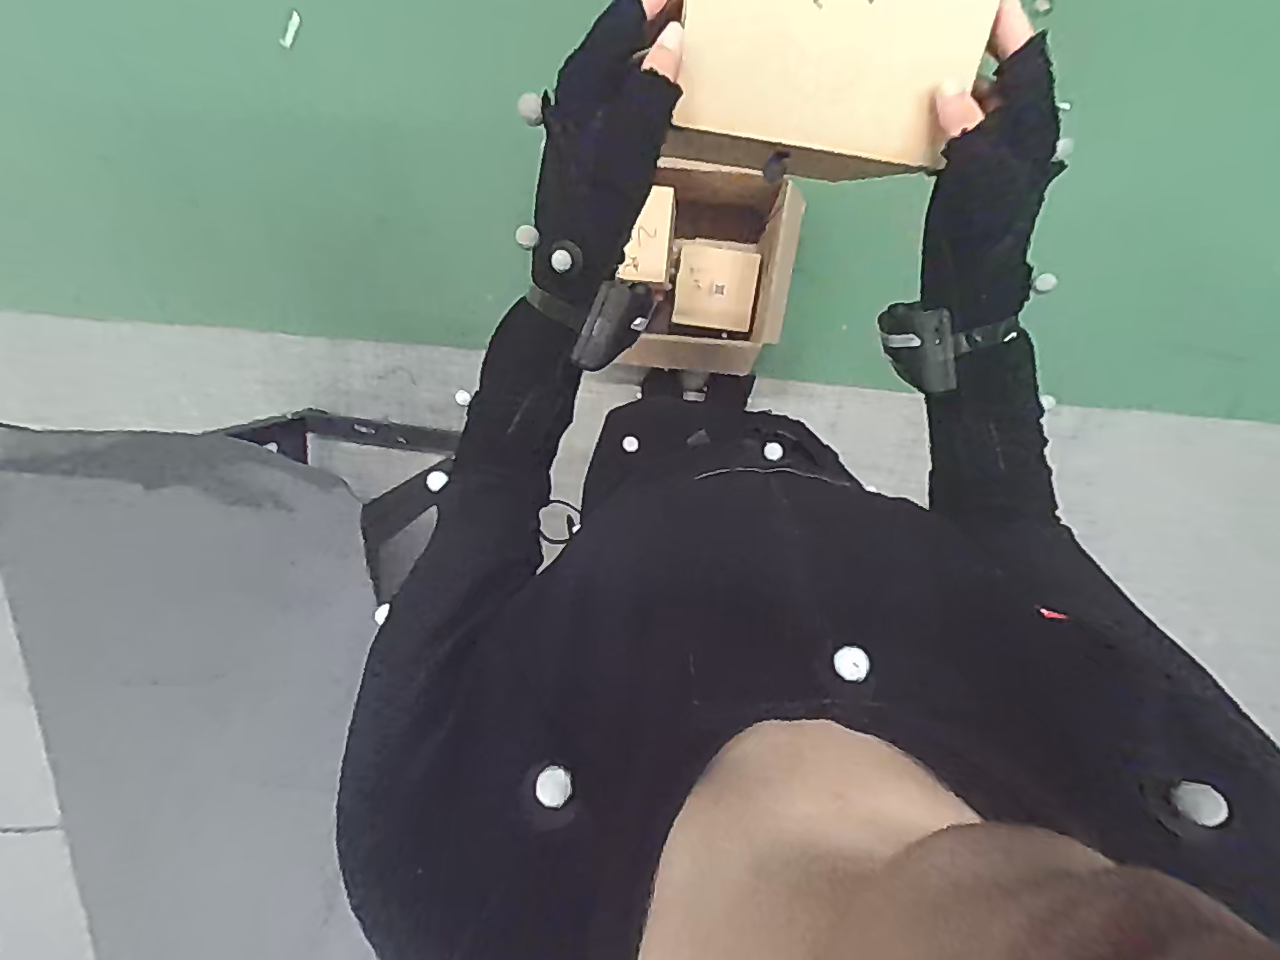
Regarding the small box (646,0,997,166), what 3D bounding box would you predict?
[{"bbox_3d":[0.102,-0.307,0.346,0.179,0.176,0.168,4,117,-5],"label":"small box"}]
